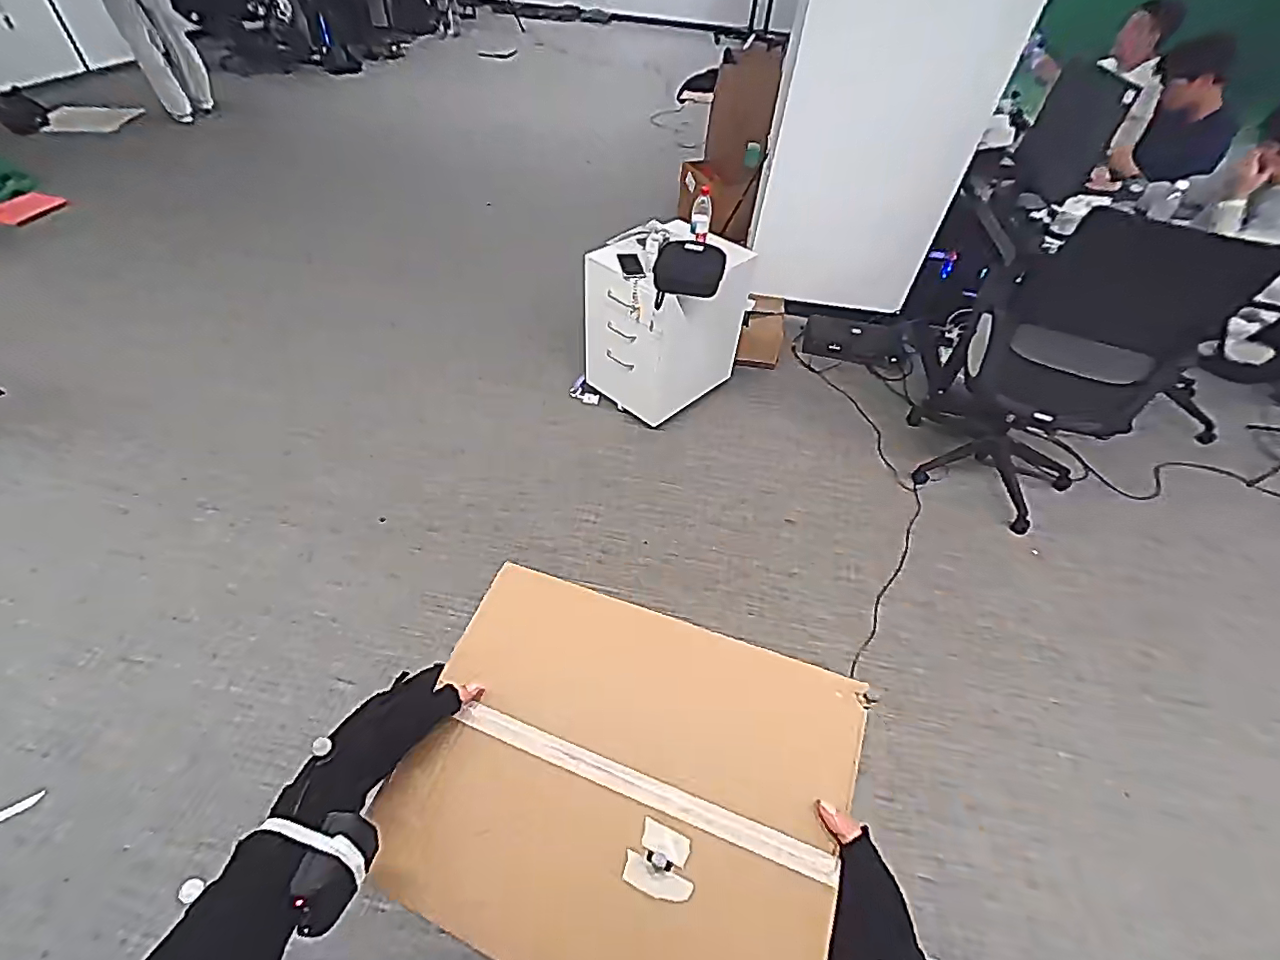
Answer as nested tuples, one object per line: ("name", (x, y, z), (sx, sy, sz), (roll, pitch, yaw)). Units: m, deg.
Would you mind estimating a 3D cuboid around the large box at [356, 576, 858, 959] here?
("large box", (-0.009, 0.357, 0.632), (0.408, 0.320, 0.320), (15, 62, 16))
